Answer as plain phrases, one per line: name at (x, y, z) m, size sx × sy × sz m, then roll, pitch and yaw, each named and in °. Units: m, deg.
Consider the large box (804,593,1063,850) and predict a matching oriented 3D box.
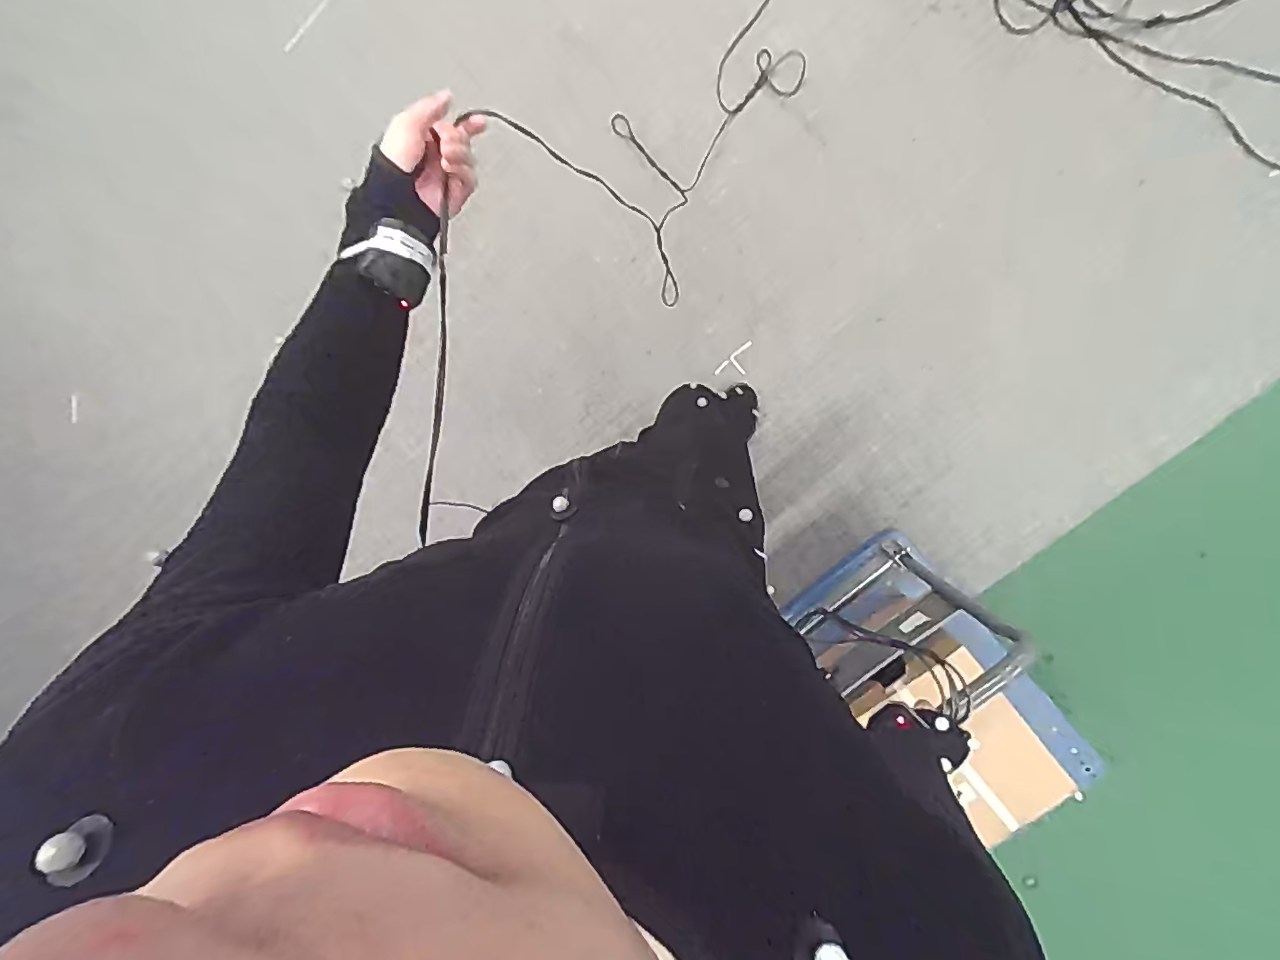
large box at (0.670, 0.555, 1.307) m, size 0.320 × 0.320 × 0.408 m, roll -39°, pitch 94°, yaw 9°
